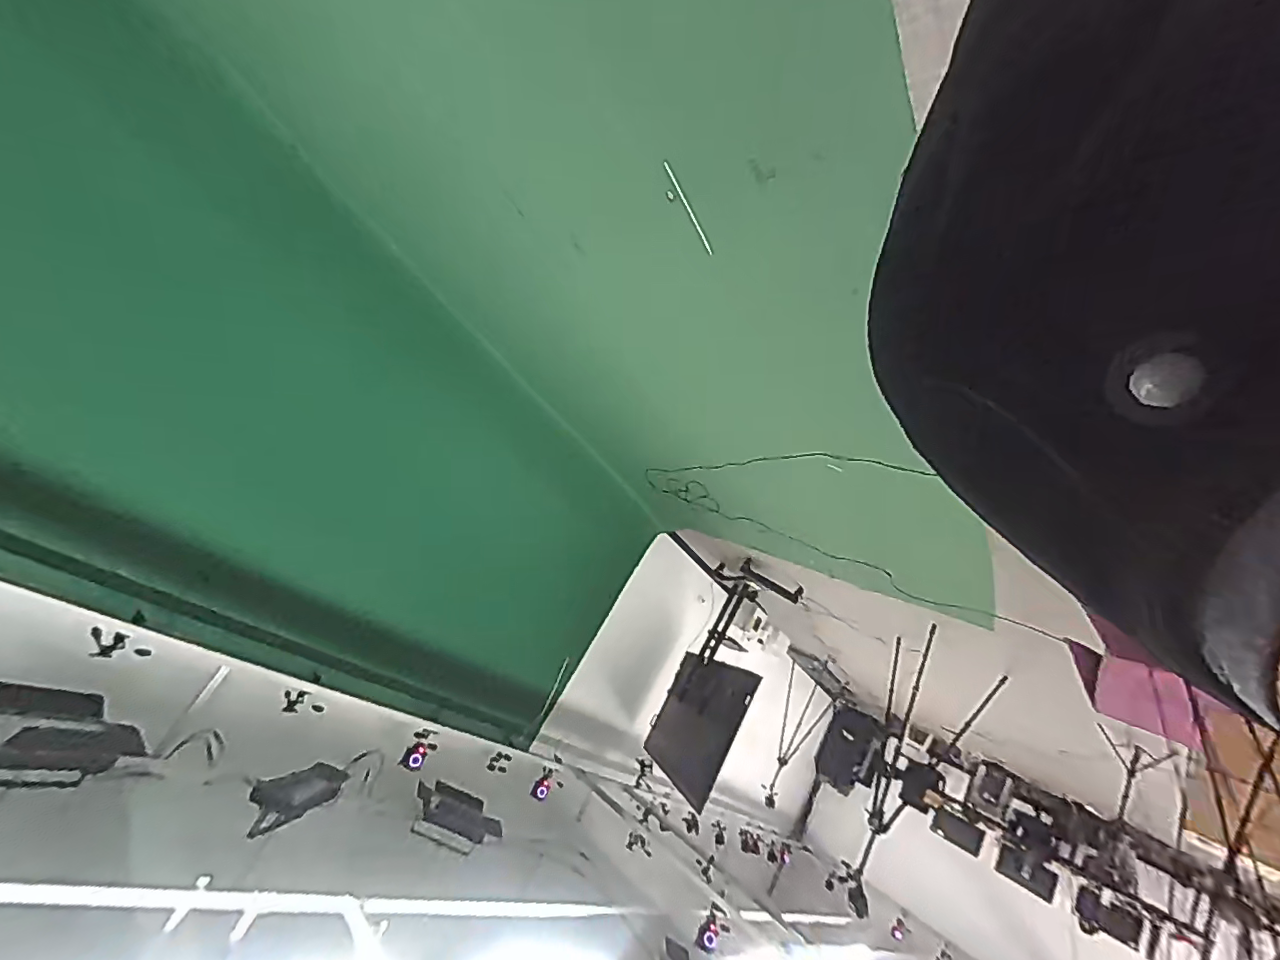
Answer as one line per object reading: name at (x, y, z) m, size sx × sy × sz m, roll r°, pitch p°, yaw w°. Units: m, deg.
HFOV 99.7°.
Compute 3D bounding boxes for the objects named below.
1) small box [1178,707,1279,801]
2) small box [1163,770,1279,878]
small box at (1.561, 0.729, 1.422) m, size 0.179 × 0.176 × 0.168 m, roll 14°, pitch 155°, yaw 45°
small box at (1.476, 0.861, 1.371) m, size 0.179 × 0.176 × 0.168 m, roll 15°, pitch 156°, yaw 44°
